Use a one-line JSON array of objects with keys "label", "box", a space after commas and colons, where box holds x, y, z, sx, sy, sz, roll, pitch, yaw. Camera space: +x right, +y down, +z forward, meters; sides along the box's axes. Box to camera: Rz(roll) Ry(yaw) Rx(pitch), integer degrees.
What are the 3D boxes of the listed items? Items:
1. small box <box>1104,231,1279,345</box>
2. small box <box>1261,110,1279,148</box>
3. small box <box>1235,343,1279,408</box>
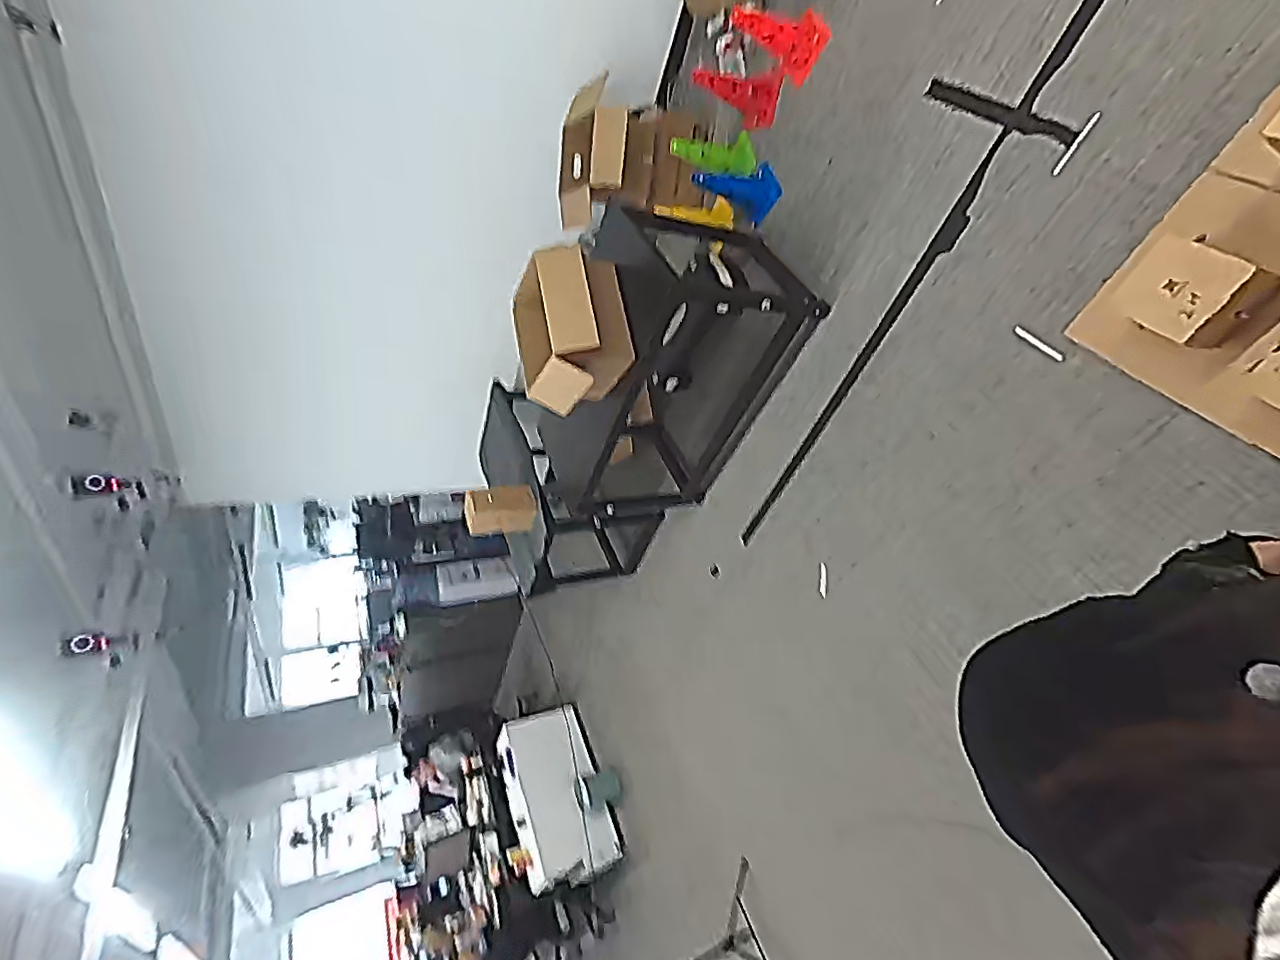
[{"label": "small box", "box": [1.154, -0.396, 1.138, 0.179, 0.176, 0.168, 58, 140, 39]}, {"label": "small box", "box": [1.267, -0.647, 0.933, 0.179, 0.176, 0.168, 56, 138, 41]}, {"label": "small box", "box": [1.264, -0.190, 0.973, 0.179, 0.176, 0.168, 57, 139, 39]}]
